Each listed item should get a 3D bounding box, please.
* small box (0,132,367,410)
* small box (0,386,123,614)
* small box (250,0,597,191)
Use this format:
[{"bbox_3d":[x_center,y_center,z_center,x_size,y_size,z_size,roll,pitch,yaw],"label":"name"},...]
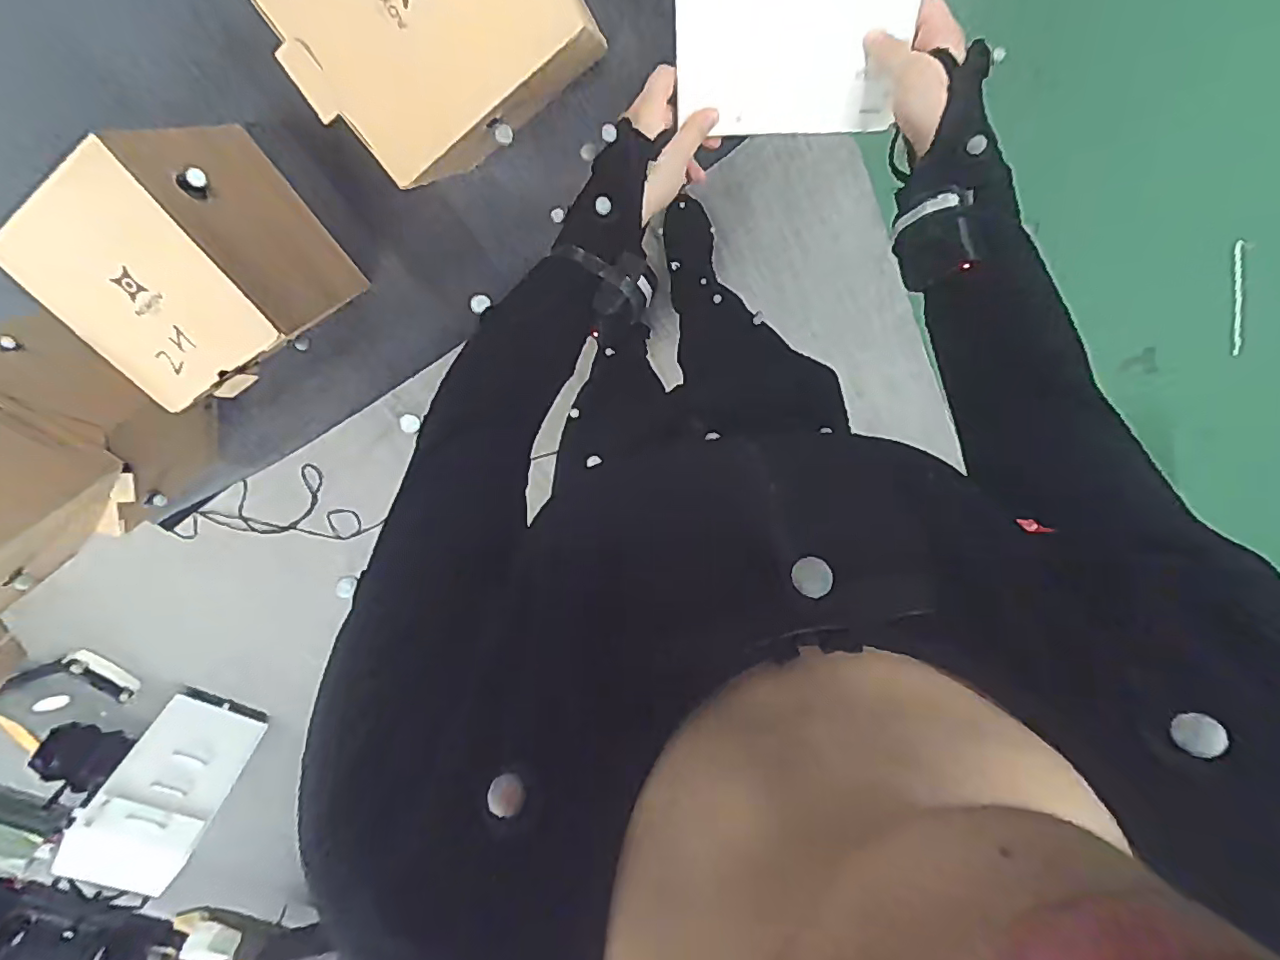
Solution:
[{"bbox_3d":[-0.414,-0.205,0.524,0.168,0.176,0.179,-23,121,19],"label":"small box"},{"bbox_3d":[-0.645,0.028,0.503,0.168,0.176,0.179,38,120,-22],"label":"small box"},{"bbox_3d":[-0.145,-0.355,0.403,0.179,0.176,0.168,-27,119,22],"label":"small box"}]
